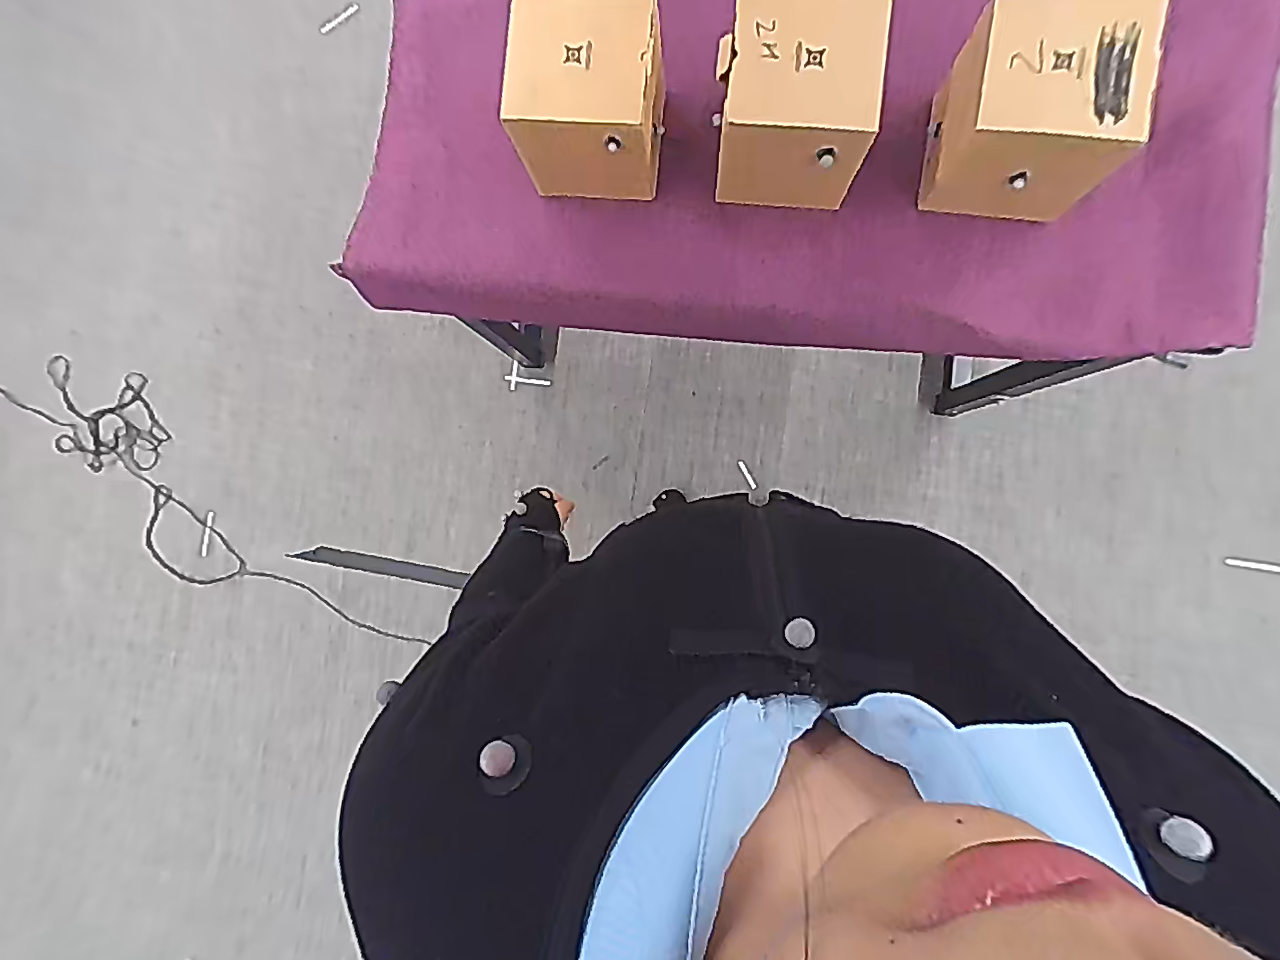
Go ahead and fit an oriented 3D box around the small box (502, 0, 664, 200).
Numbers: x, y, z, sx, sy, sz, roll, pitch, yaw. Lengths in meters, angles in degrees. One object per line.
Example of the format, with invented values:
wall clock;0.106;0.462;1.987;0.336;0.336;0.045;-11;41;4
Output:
small box;-0.065;-0.499;0.720;0.179;0.176;0.168;5;89;5

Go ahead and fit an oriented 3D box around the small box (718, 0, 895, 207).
small box;0.199;-0.474;0.692;0.179;0.176;0.168;6;88;6
